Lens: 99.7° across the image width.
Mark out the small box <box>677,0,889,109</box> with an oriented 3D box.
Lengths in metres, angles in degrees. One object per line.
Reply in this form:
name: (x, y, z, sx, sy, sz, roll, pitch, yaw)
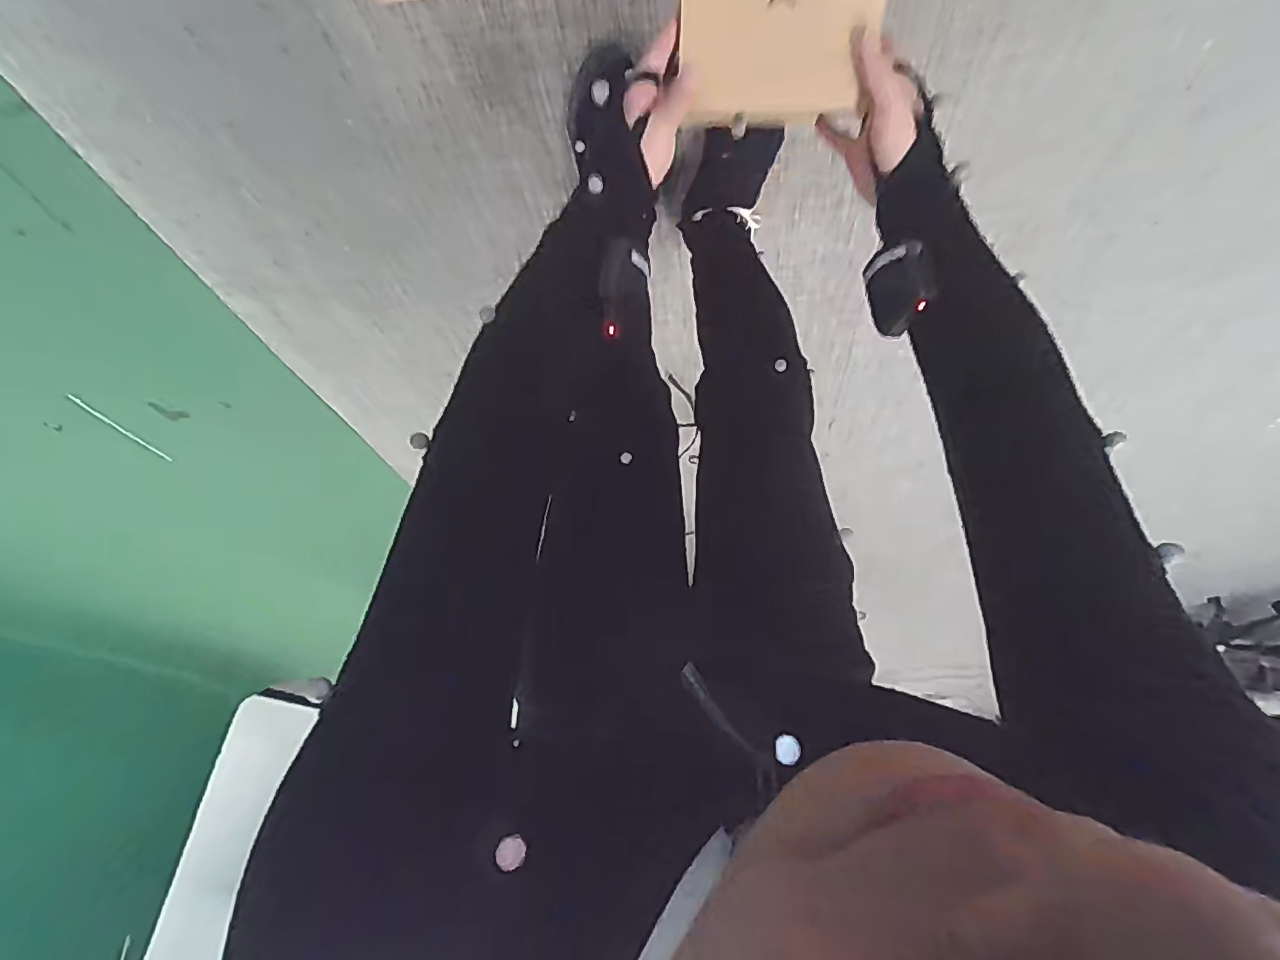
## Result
small box: (0.122, -0.441, 0.481, 0.168, 0.176, 0.179, 3, 120, 4)
